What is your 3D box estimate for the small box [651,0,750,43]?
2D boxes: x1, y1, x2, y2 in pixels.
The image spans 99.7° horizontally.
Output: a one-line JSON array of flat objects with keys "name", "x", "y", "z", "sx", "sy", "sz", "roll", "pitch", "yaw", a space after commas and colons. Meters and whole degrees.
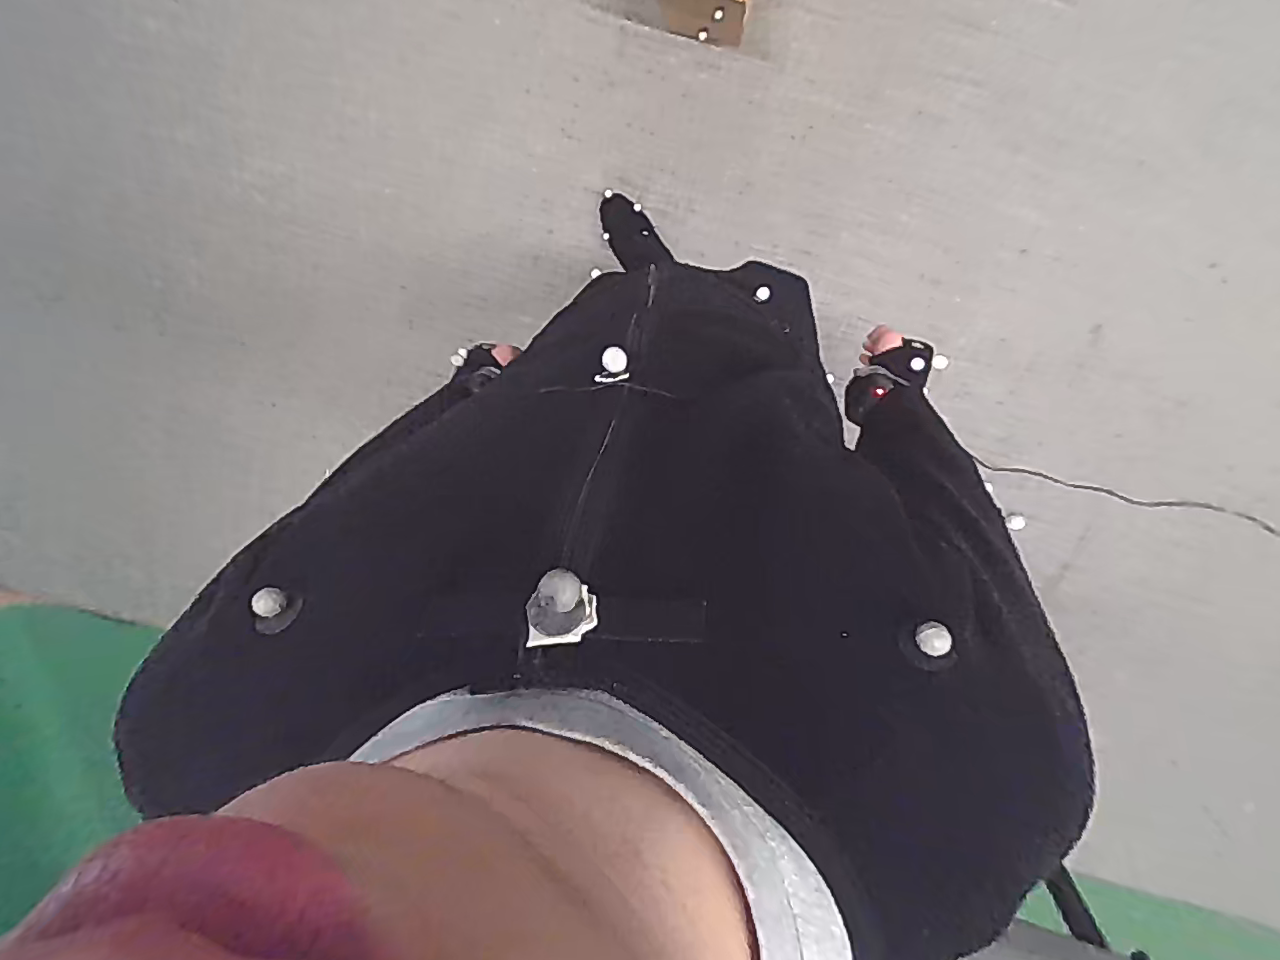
[{"name": "small box", "x": 0.122, "y": -0.898, "z": 0.935, "sx": 0.168, "sy": 0.176, "sz": 0.179, "roll": 14, "pitch": 116, "yaw": -1}]

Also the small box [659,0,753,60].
[{"name": "small box", "x": 0.142, "y": -0.972, "z": 1.078, "sx": 0.168, "sy": 0.176, "sz": 0.179, "roll": 13, "pitch": 118, "yaw": 1}]
